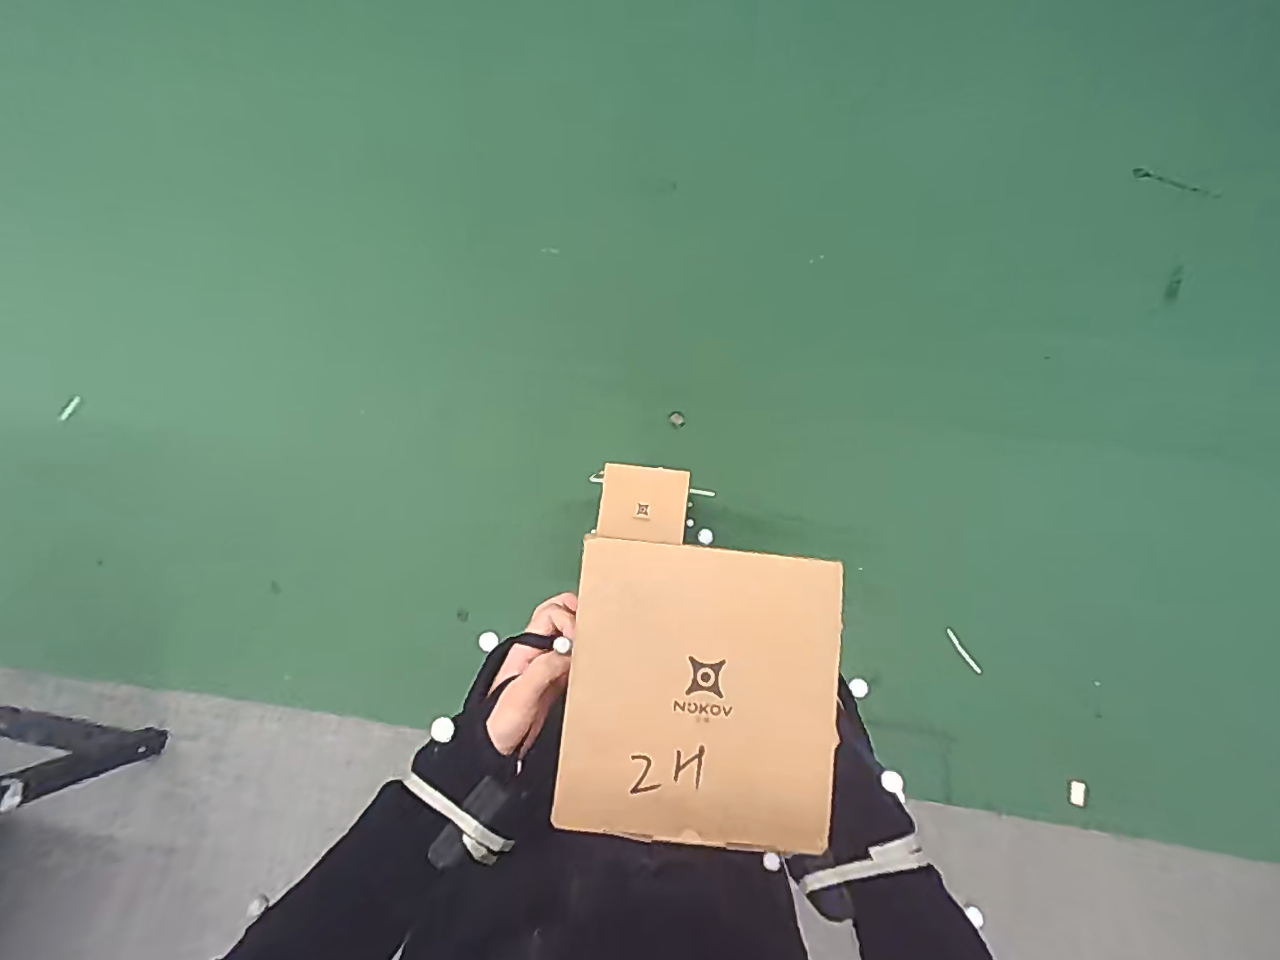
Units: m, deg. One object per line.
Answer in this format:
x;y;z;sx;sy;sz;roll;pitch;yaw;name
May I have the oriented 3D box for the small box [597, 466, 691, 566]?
0.012;0.078;1.102;0.168;0.176;0.179;5;82;5;small box
